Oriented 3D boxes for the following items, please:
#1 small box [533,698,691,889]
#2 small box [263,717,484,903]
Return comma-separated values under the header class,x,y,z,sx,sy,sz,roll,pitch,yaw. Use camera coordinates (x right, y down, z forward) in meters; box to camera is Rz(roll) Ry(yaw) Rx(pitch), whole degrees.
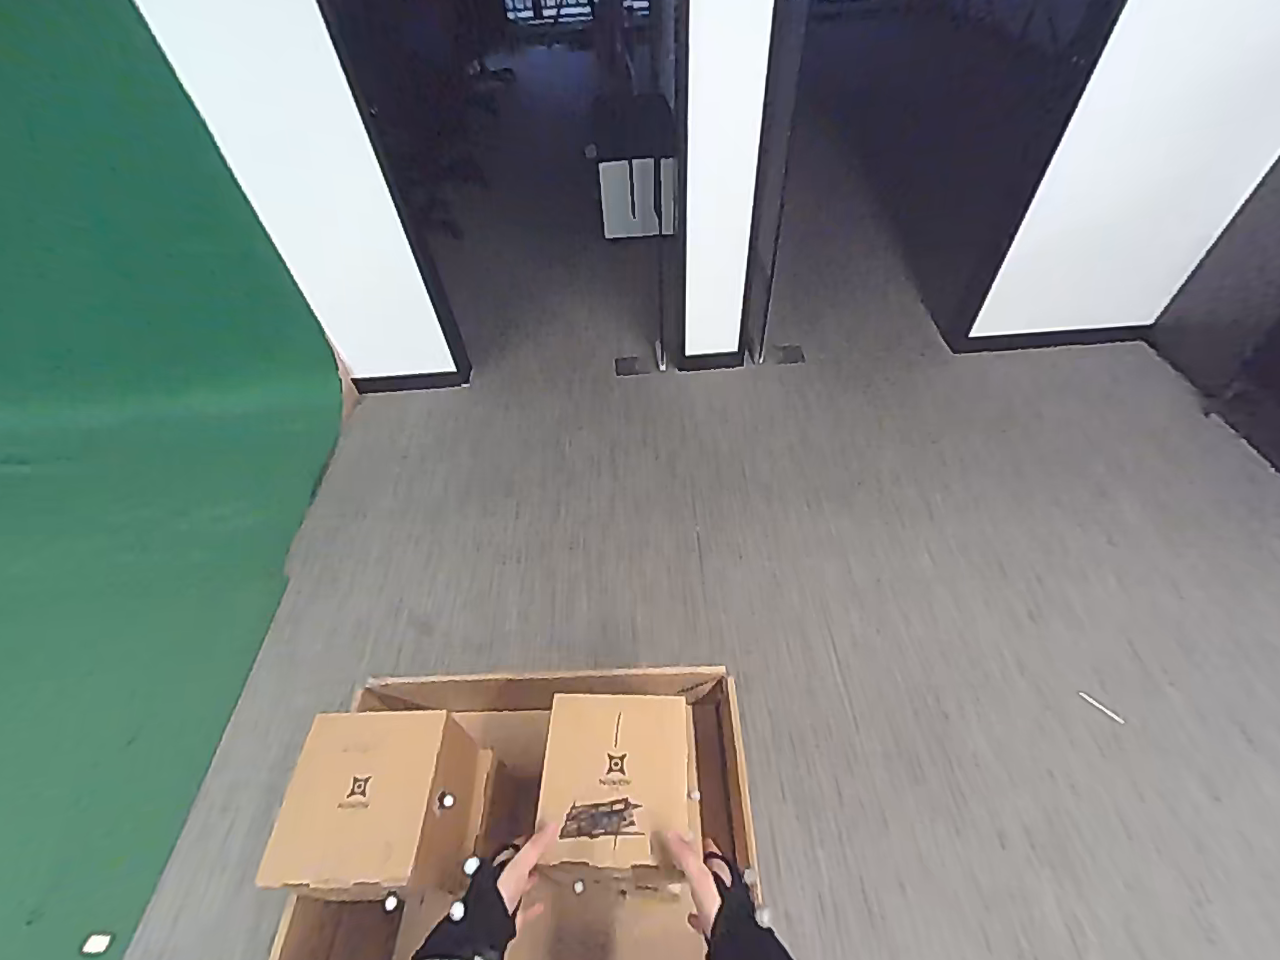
class,x,y,z,sx,sy,sz,roll,pitch,yaw
small box,-0.021,0.389,0.669,0.168,0.176,0.179,-1,48,4
small box,-0.308,0.413,0.674,0.168,0.176,0.179,-2,48,3
